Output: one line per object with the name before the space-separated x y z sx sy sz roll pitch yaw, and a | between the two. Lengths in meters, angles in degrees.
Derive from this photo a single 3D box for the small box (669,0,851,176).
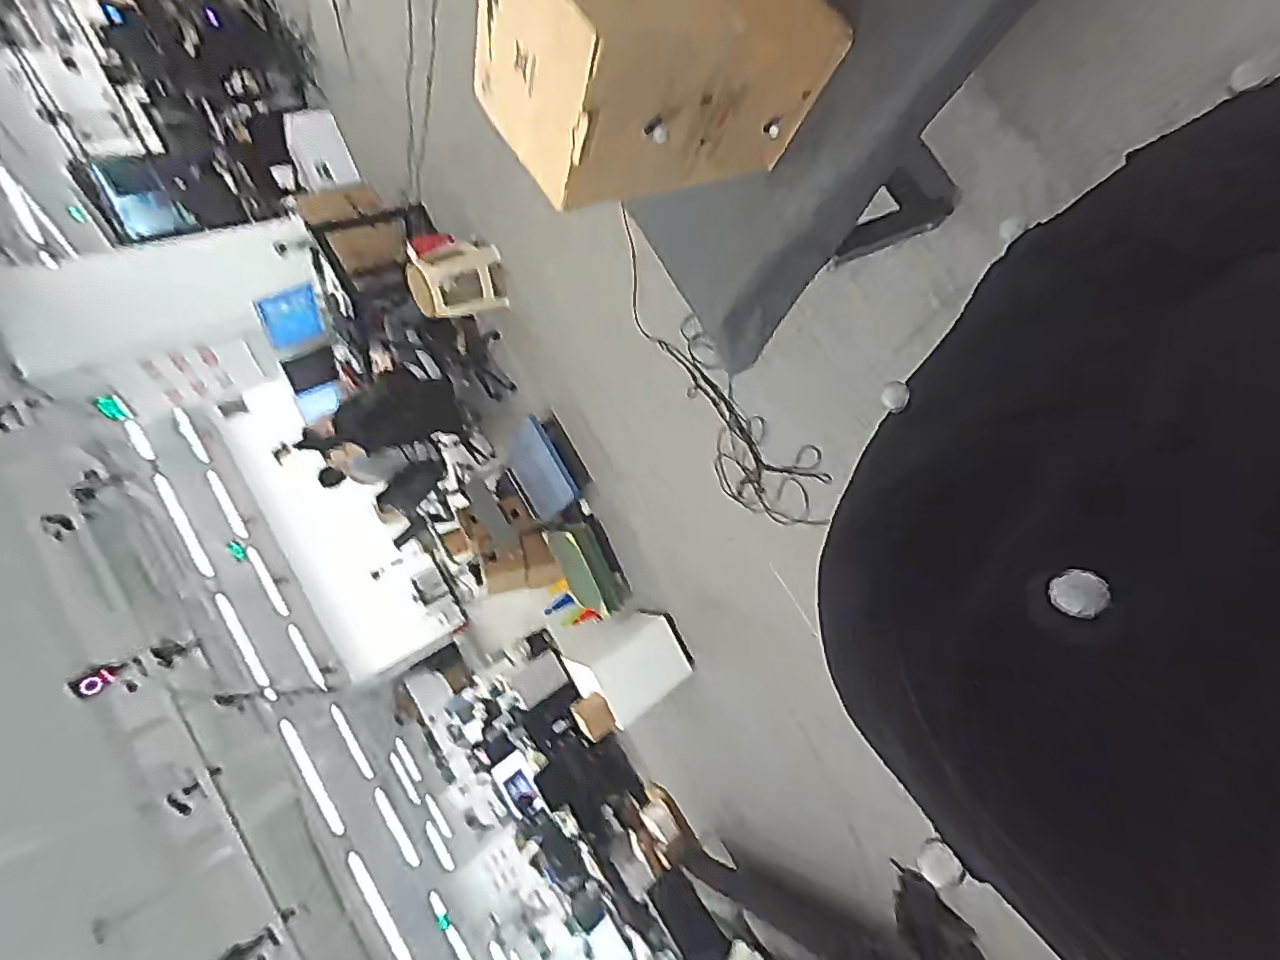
small box | 0.090 -0.478 0.602 0.179 0.176 0.168 57 151 8

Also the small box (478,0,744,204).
small box | -0.034 -0.410 0.520 0.179 0.176 0.168 56 151 9
